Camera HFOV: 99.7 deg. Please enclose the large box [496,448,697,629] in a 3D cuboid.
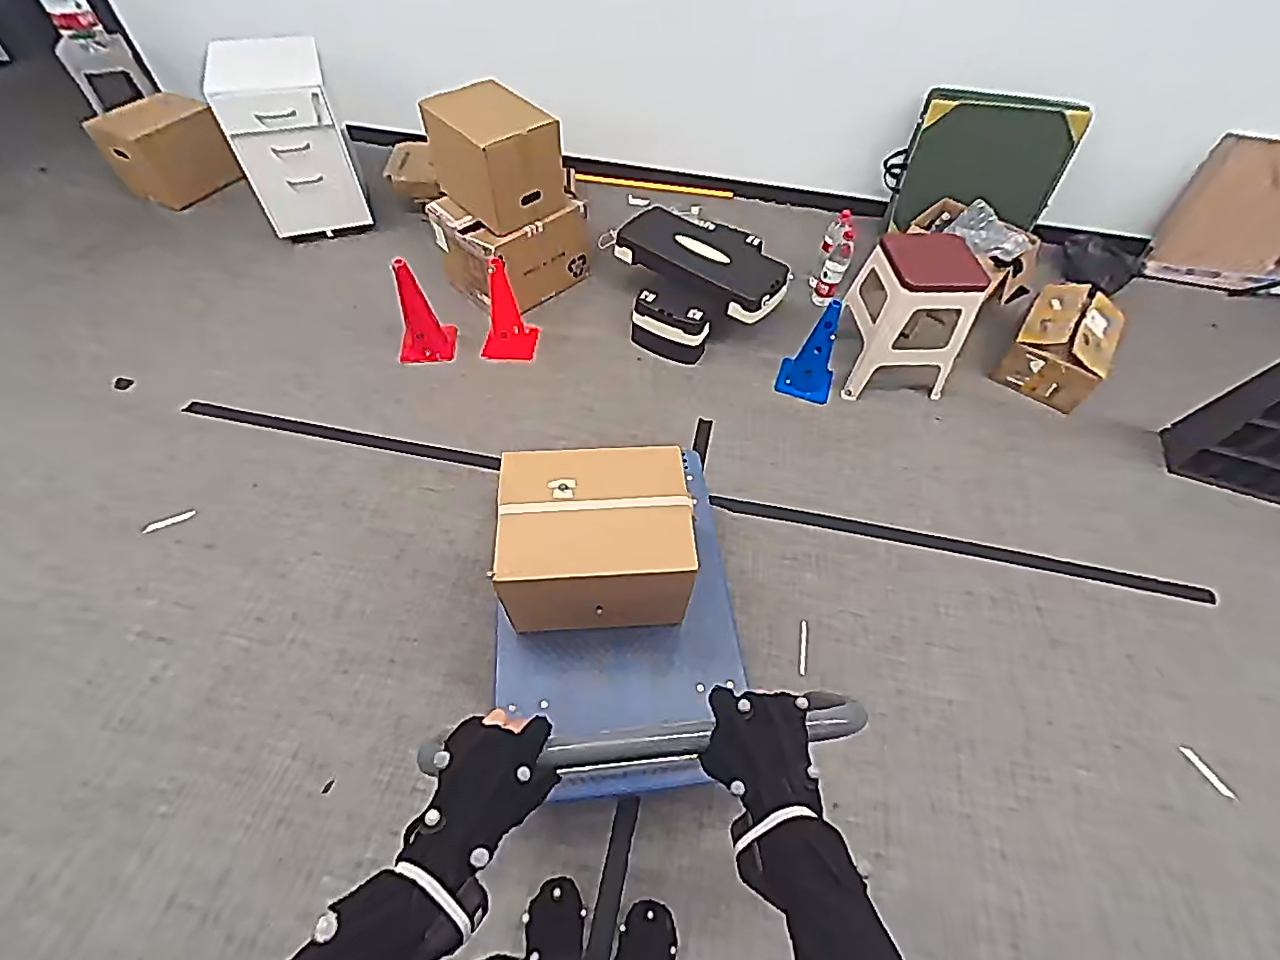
[{"bbox_3d":[-0.097,0.144,1.269,0.408,0.320,0.320,-2,56,-4],"label":"large box"}]
